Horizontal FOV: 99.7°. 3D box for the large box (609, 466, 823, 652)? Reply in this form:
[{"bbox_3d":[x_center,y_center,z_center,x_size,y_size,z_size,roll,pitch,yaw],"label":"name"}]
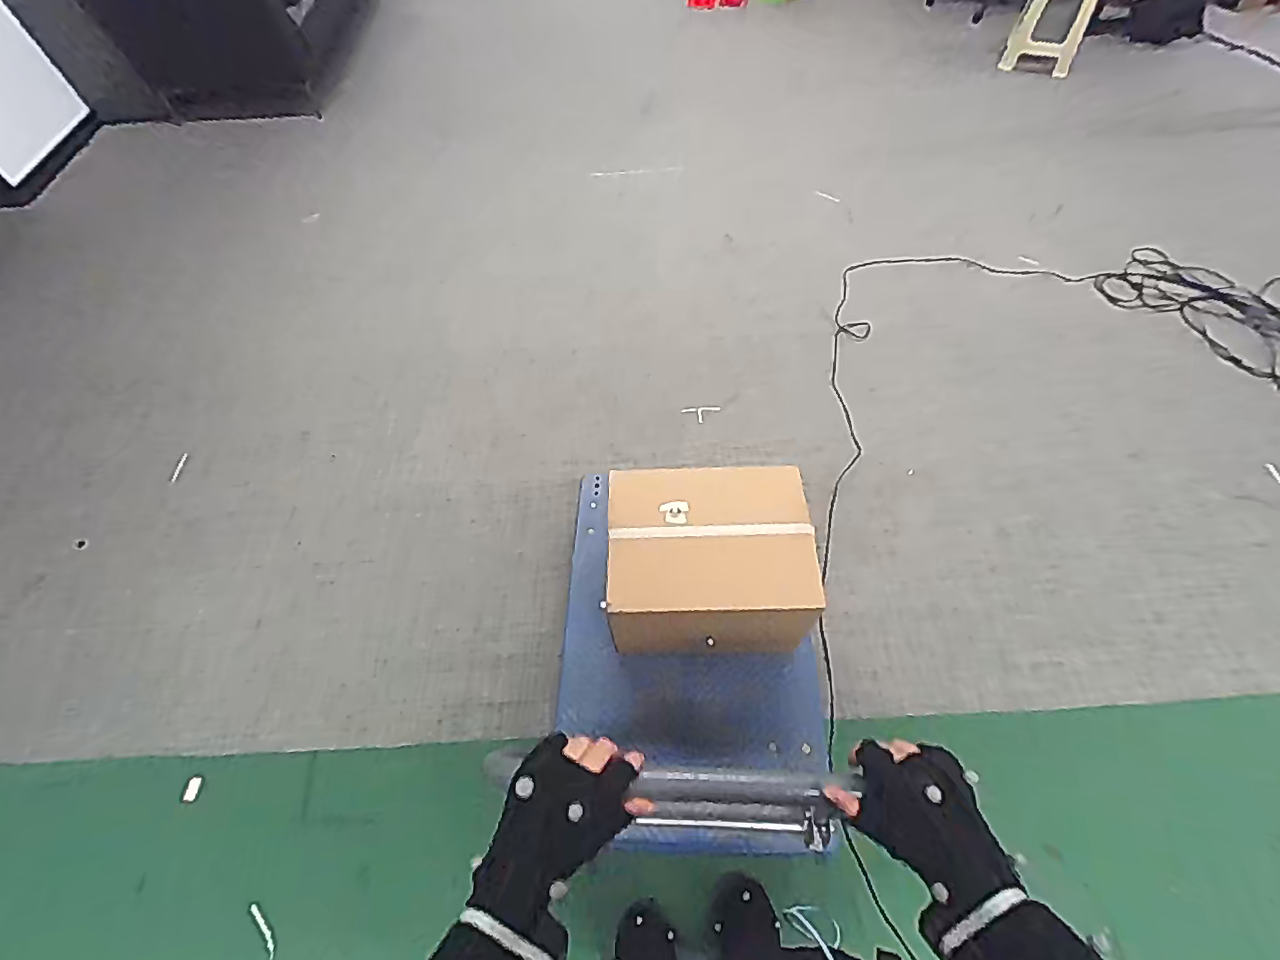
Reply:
[{"bbox_3d":[0.146,0.187,1.203,0.408,0.320,0.320,-2,57,2],"label":"large box"}]
